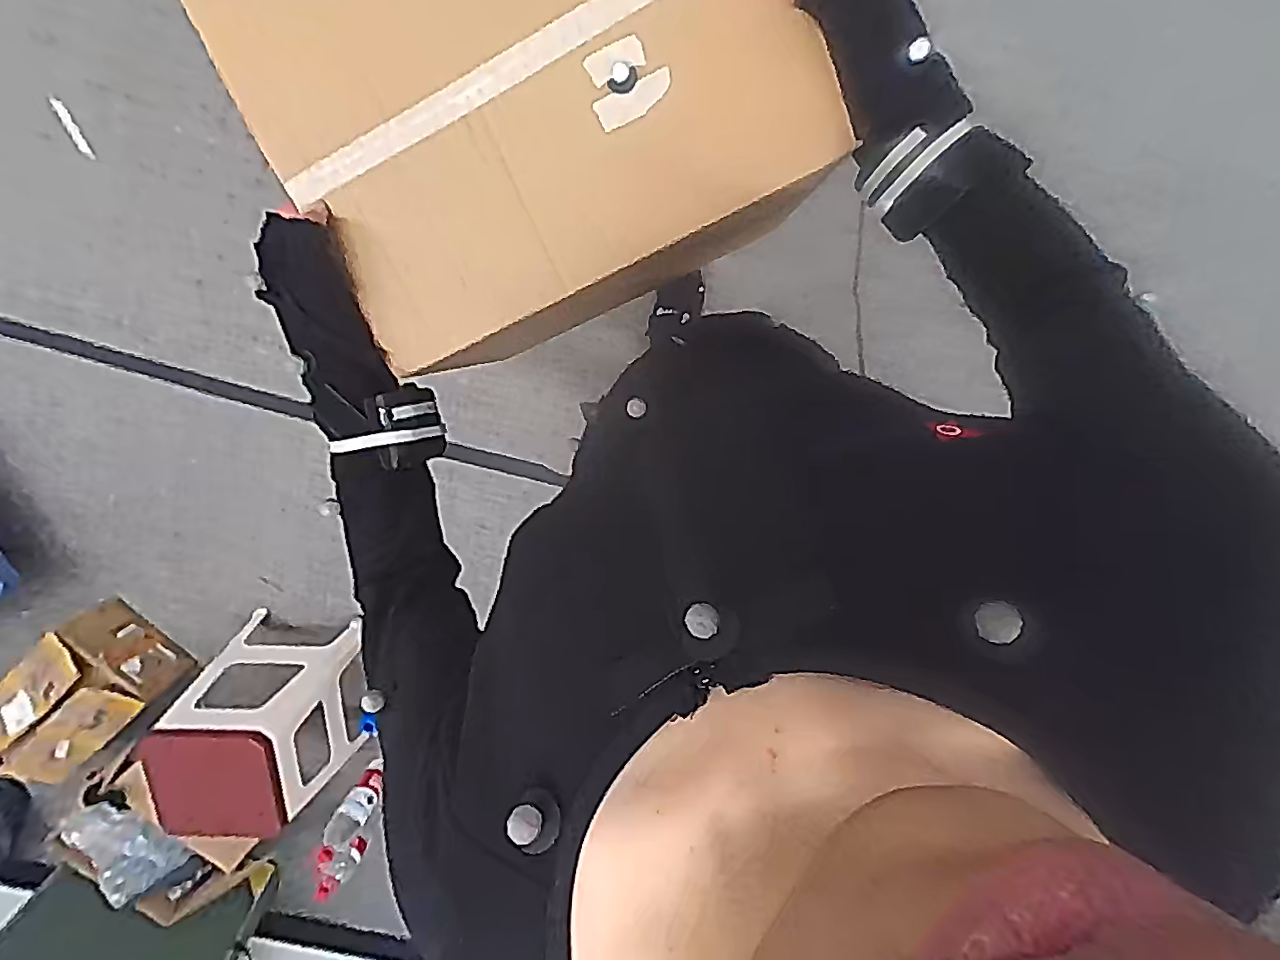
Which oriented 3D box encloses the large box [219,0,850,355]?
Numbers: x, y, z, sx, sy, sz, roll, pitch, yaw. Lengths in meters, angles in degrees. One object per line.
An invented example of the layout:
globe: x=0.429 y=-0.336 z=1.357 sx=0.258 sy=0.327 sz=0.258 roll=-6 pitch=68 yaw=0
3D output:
large box: x=-0.074 y=-0.352 z=0.550 sx=0.408 sy=0.320 sz=0.320 roll=-23 pitch=103 yaw=8
